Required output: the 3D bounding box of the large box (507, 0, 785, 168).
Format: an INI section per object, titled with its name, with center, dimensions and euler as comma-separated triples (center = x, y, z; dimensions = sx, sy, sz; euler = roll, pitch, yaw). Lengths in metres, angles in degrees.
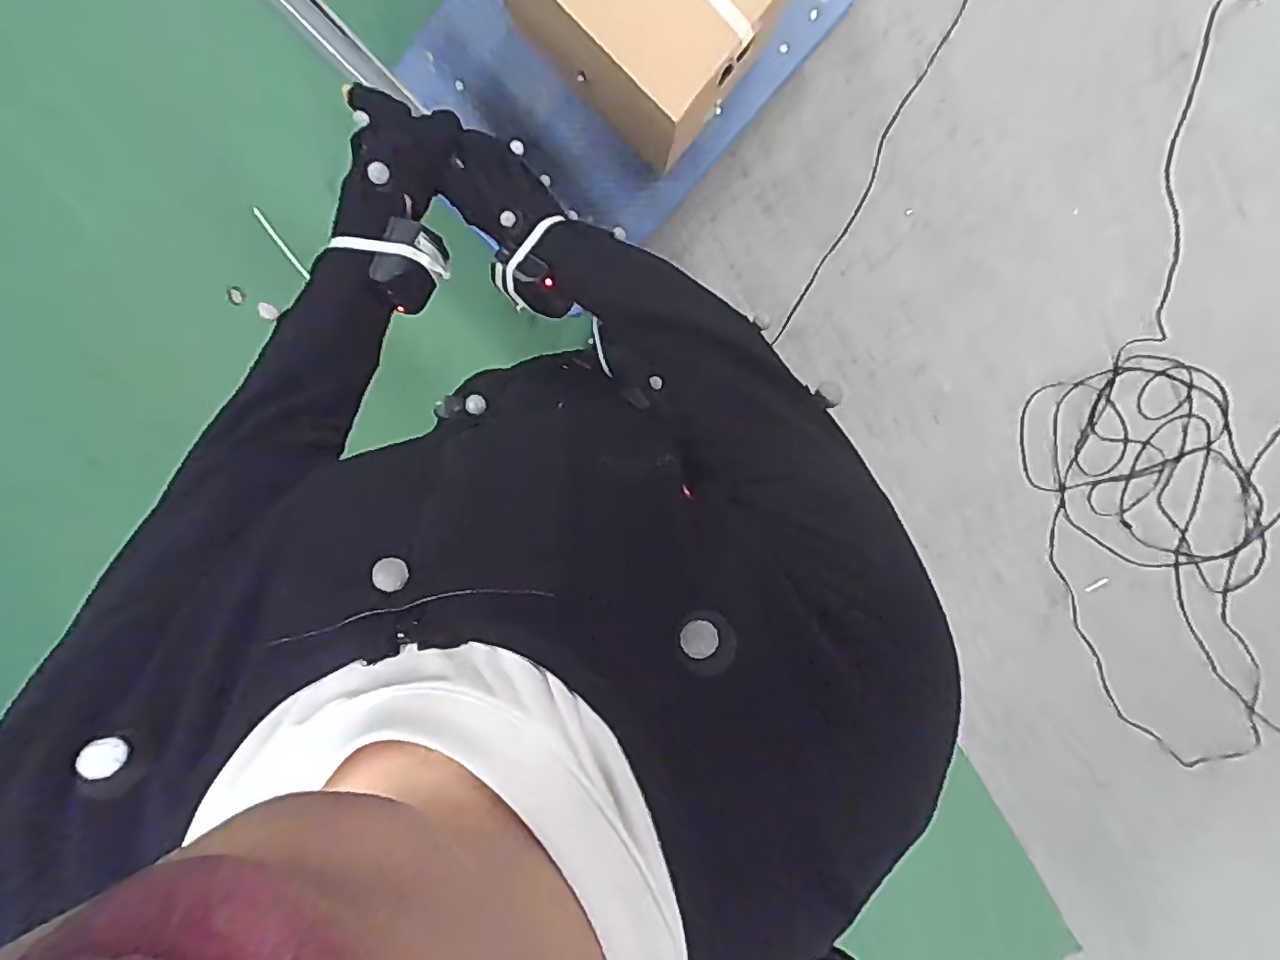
[large box]
center = 0.006, -0.838, 0.922
dimensions = 0.408, 0.320, 0.320
euler = 40, 100, -11
